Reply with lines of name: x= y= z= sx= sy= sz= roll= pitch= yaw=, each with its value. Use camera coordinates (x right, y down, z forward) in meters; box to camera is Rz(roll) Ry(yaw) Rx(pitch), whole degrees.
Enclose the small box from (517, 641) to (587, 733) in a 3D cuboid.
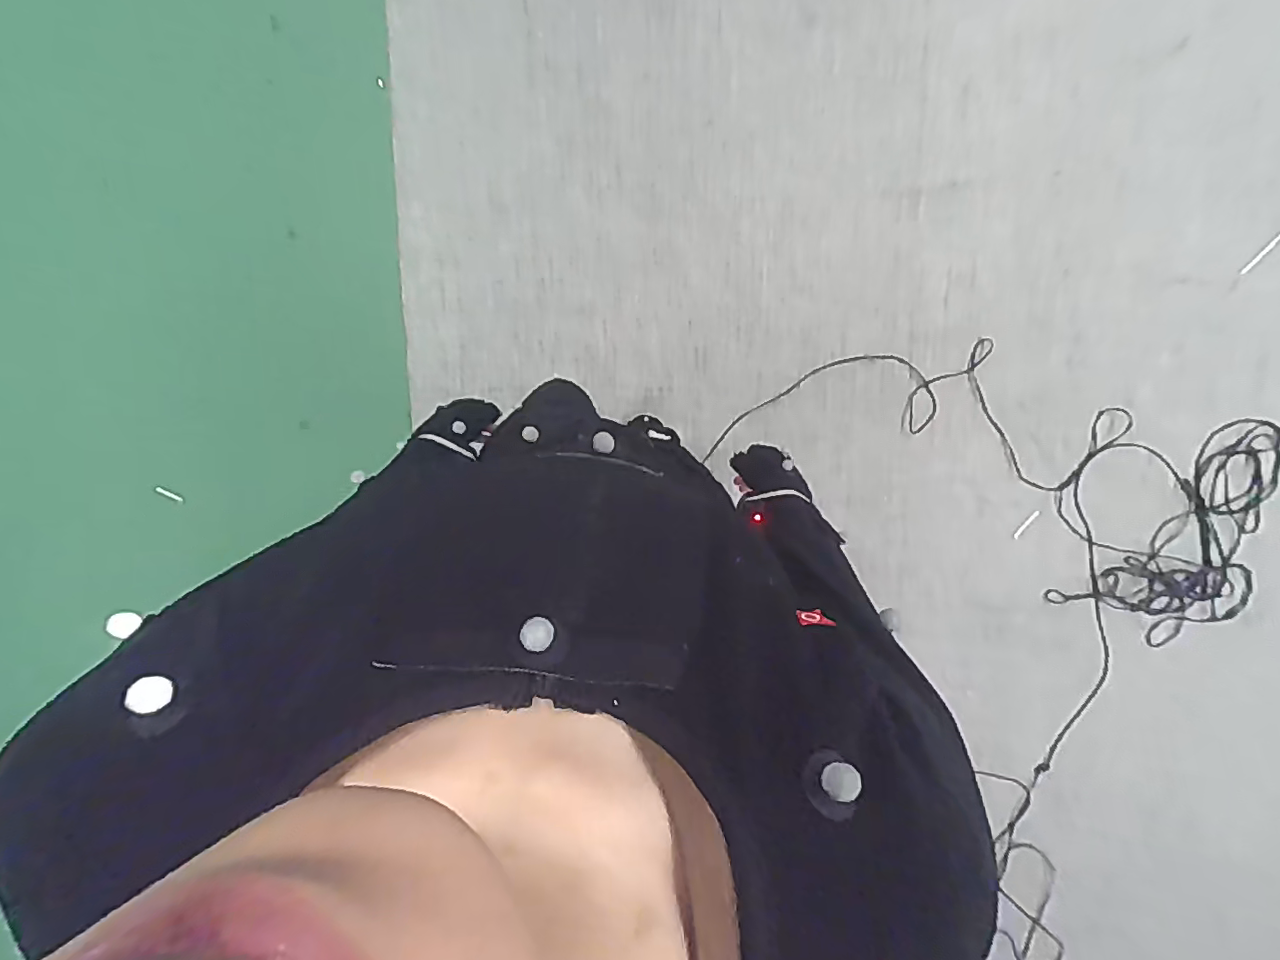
small box: x=-0.234 y=0.558 z=1.471 sx=0.168 sy=0.176 sz=0.179 roll=1 pitch=96 yaw=1
